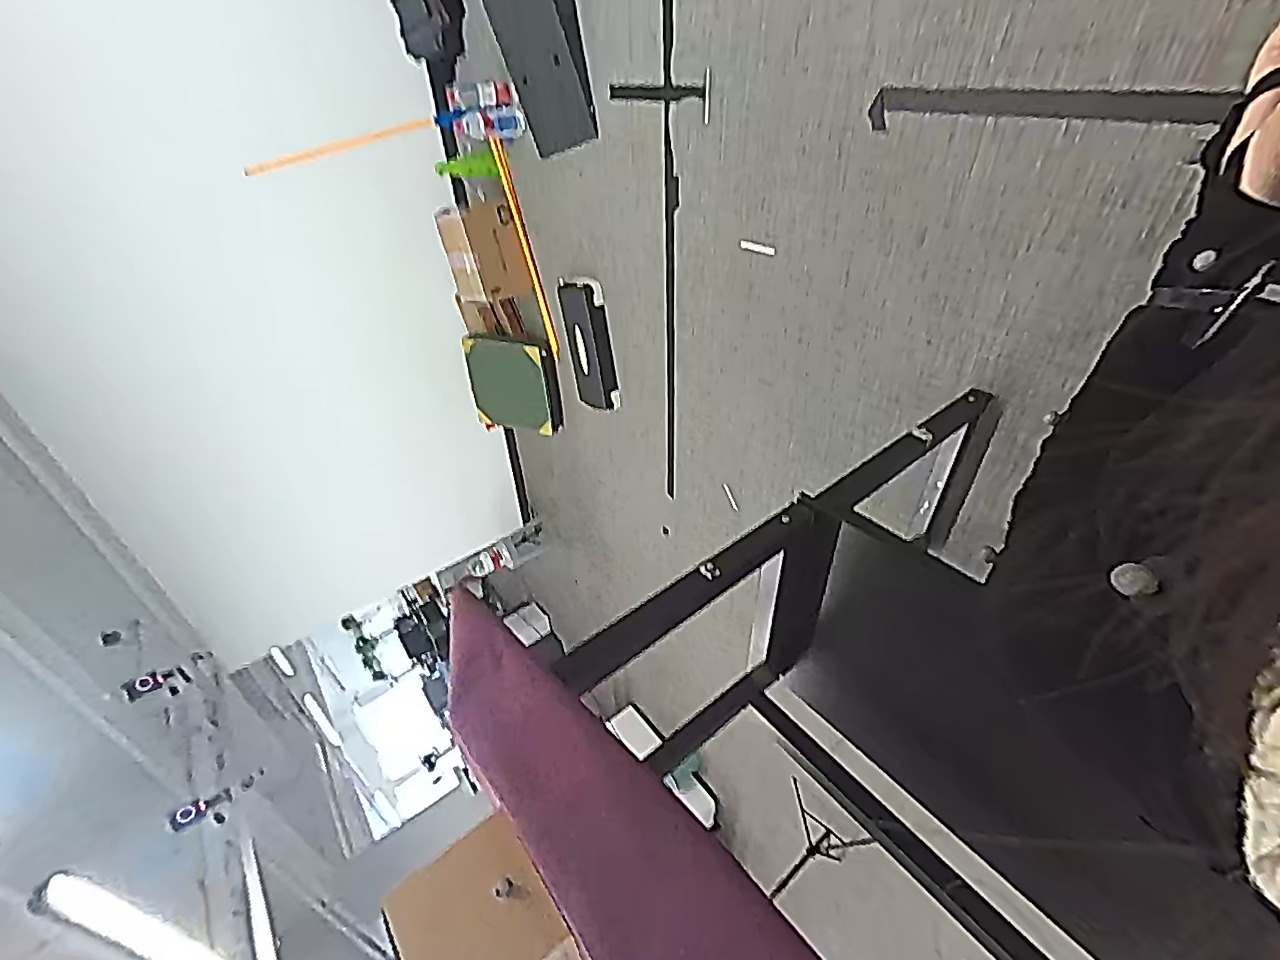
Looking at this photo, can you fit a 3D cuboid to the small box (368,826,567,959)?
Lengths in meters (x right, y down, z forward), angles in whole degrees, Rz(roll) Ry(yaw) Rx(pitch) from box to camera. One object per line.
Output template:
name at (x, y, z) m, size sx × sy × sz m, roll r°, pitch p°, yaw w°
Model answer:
small box at (-0.205, 0.575, 0.674) m, size 0.179 × 0.176 × 0.168 m, roll 38°, pitch 143°, yaw 38°
